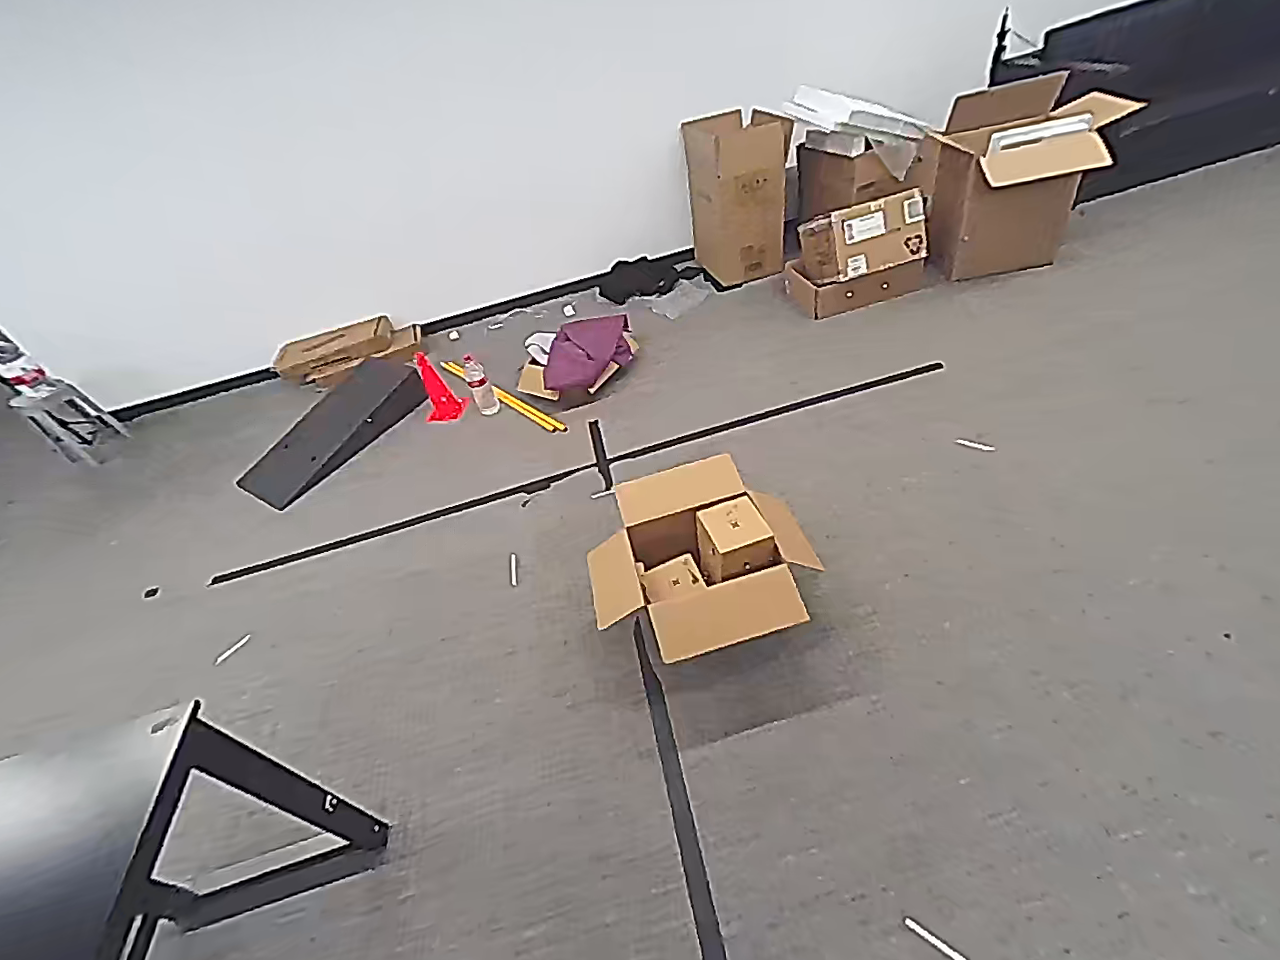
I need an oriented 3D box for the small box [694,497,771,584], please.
[{"bbox_3d":[0.272,0.186,1.595,0.168,0.176,0.179,-17,42,-9],"label":"small box"}]
